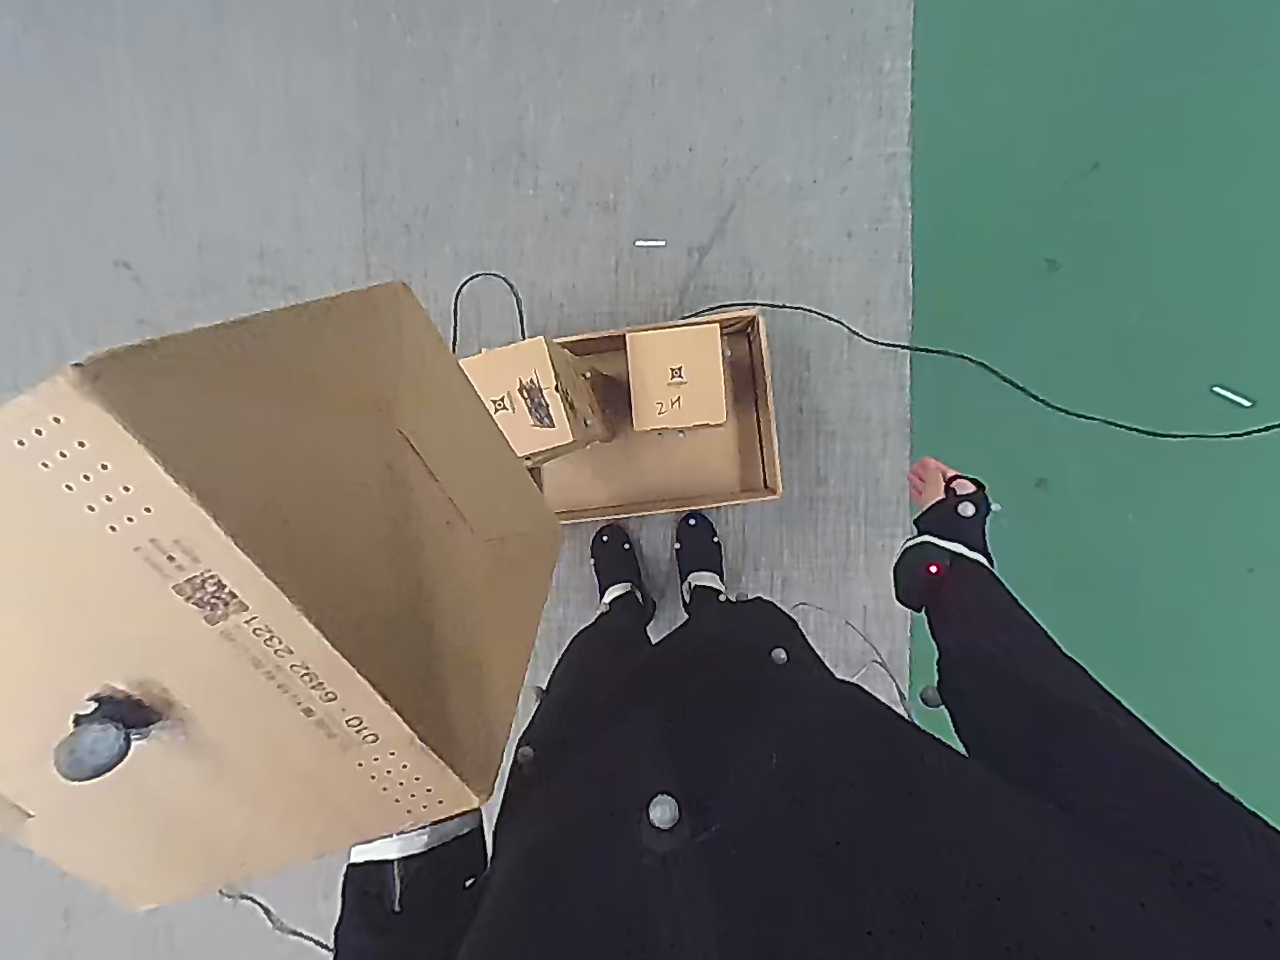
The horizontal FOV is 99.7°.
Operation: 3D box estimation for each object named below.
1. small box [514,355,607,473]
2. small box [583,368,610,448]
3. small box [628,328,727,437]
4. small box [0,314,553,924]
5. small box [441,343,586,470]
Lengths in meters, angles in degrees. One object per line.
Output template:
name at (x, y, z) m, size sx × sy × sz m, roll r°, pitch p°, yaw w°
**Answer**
small box at (-0.171, -0.125, 1.052) m, size 0.179 × 0.176 × 0.168 m, roll -23°, pitch 92°, yaw 5°
small box at (-0.169, -0.149, 1.214) m, size 0.179 × 0.176 × 0.168 m, roll -6°, pitch 93°, yaw 3°
small box at (0.072, -0.175, 1.023) m, size 0.168 × 0.176 × 0.179 m, roll -4°, pitch 93°, yaw 6°
small box at (-0.160, 0.044, 0.244) m, size 0.176 × 0.179 × 0.168 m, roll -23°, pitch 113°, yaw 13°
small box at (-0.195, -0.111, 0.890) m, size 0.179 × 0.176 × 0.168 m, roll -16°, pitch 92°, yaw 5°
